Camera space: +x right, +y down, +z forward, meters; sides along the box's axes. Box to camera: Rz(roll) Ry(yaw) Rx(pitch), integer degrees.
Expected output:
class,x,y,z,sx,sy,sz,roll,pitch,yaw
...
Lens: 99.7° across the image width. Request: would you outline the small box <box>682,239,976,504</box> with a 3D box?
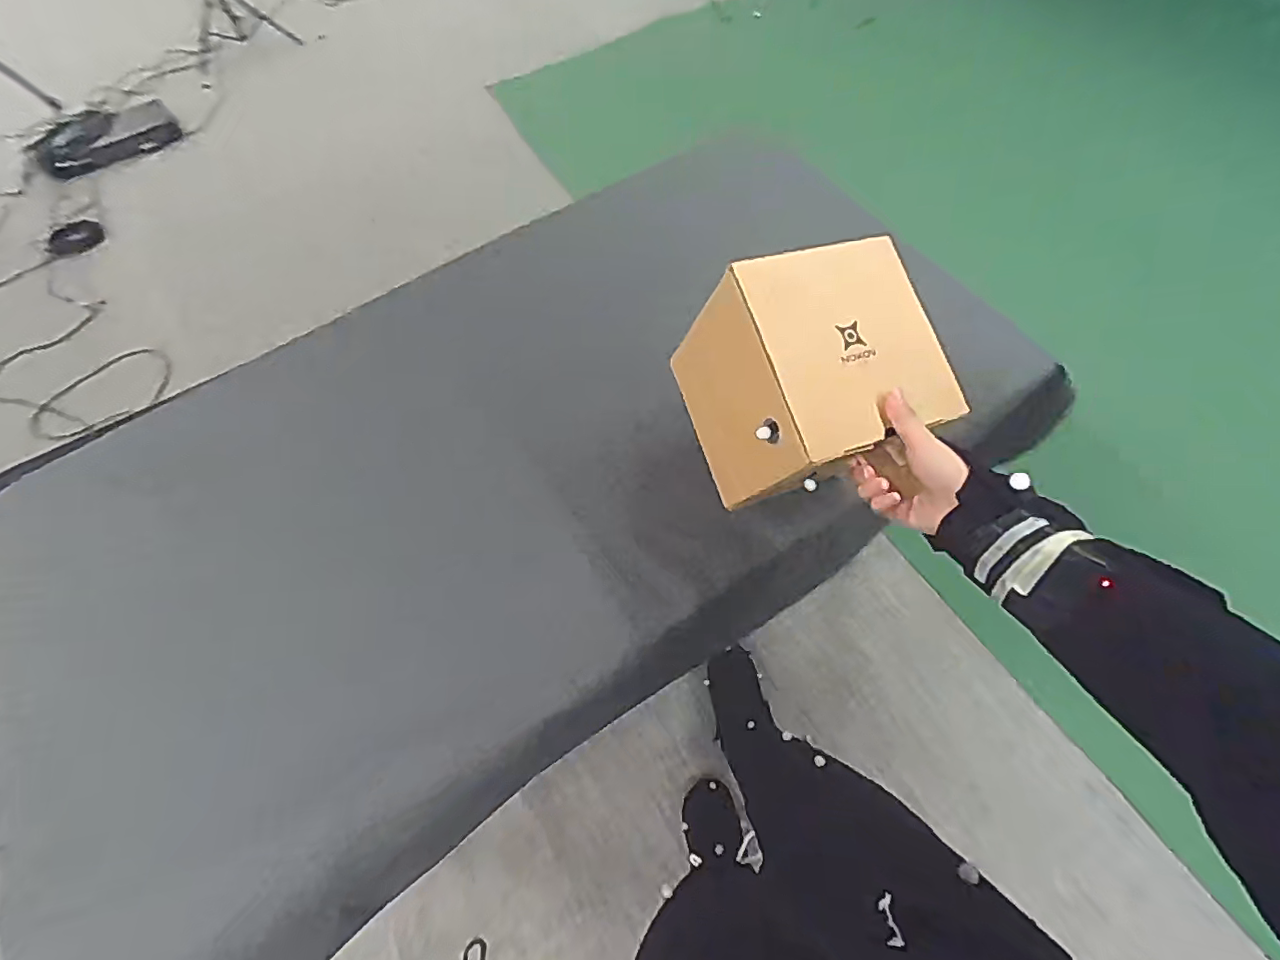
class,x,y,z,sx,sy,sz,roll,pitch,yaw
small box,0.159,-0.093,0.512,0.168,0.176,0.179,-16,81,-18
